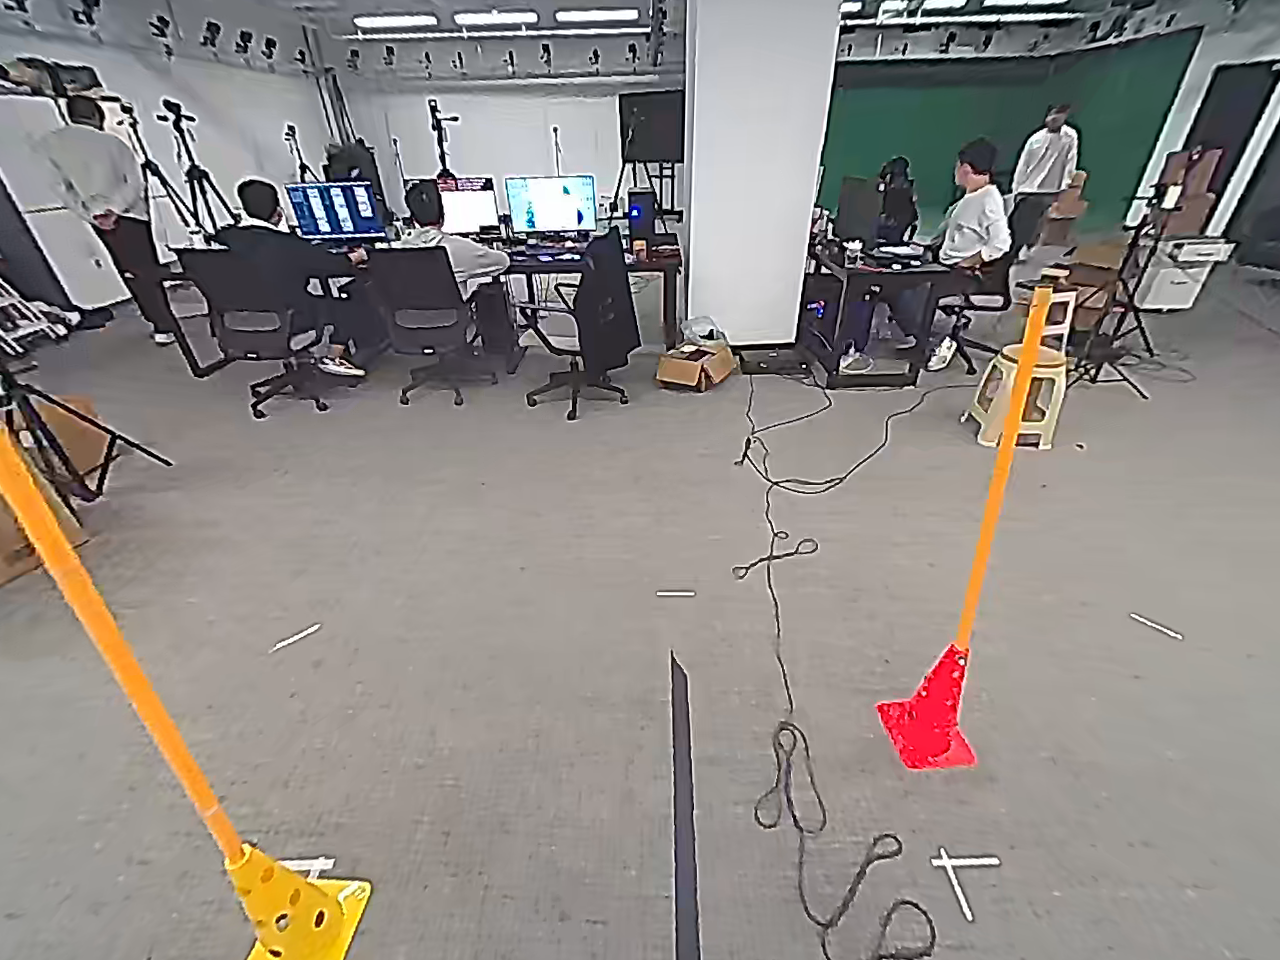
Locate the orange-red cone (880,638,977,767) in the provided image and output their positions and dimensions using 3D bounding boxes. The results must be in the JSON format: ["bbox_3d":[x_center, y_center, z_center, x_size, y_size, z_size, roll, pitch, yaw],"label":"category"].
[{"bbox_3d":[0.784,0.548,1.405,0.199,0.360,0.198,-4,32,-1],"label":"orange-red cone"}]
